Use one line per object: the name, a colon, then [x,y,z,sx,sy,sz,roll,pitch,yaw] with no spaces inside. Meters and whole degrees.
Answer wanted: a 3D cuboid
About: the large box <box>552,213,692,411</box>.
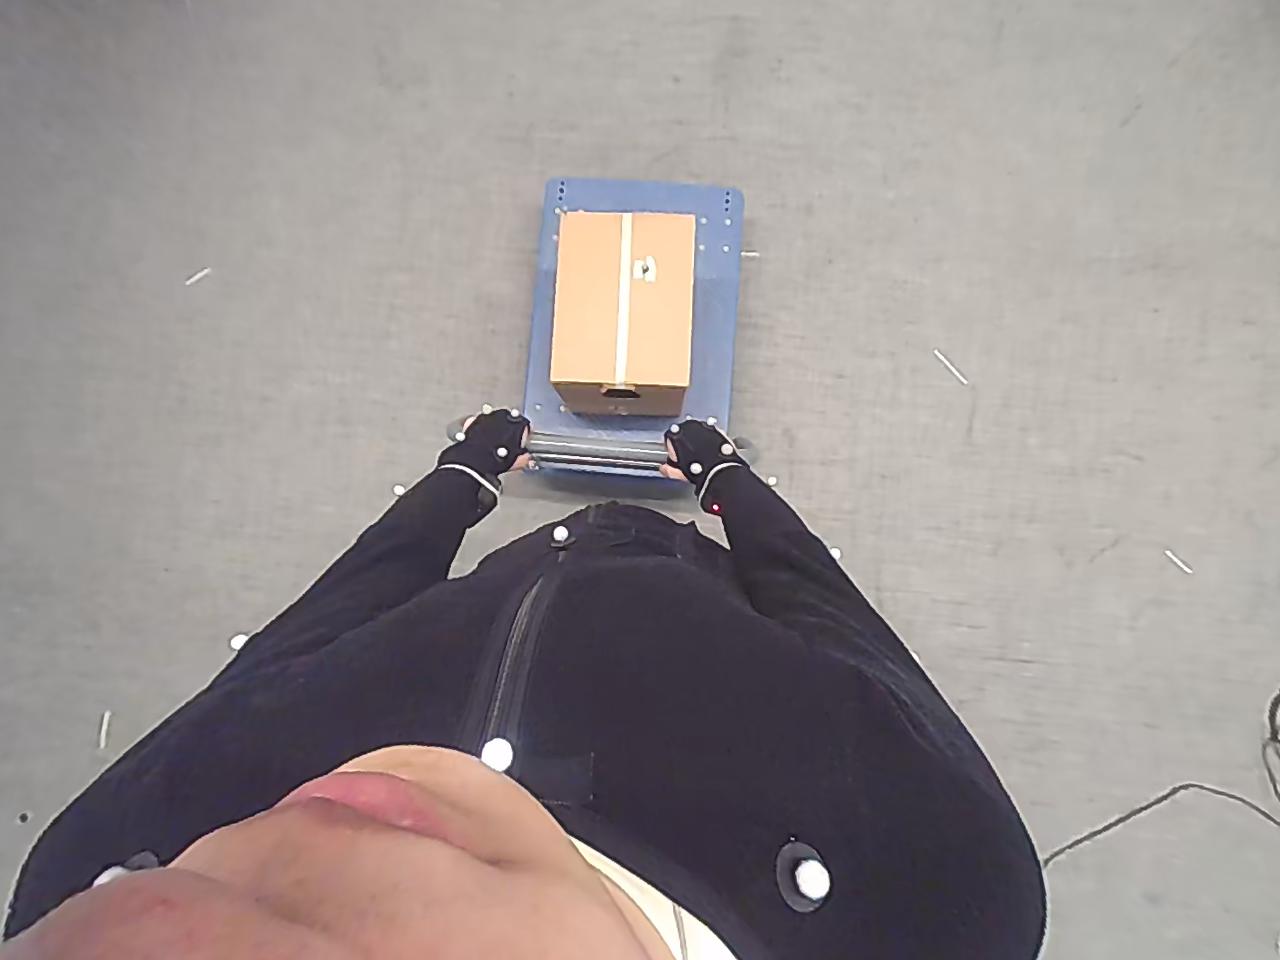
large box: [-0.033,-0.402,1.378,0.320,0.320,0.408,2,85,1]
